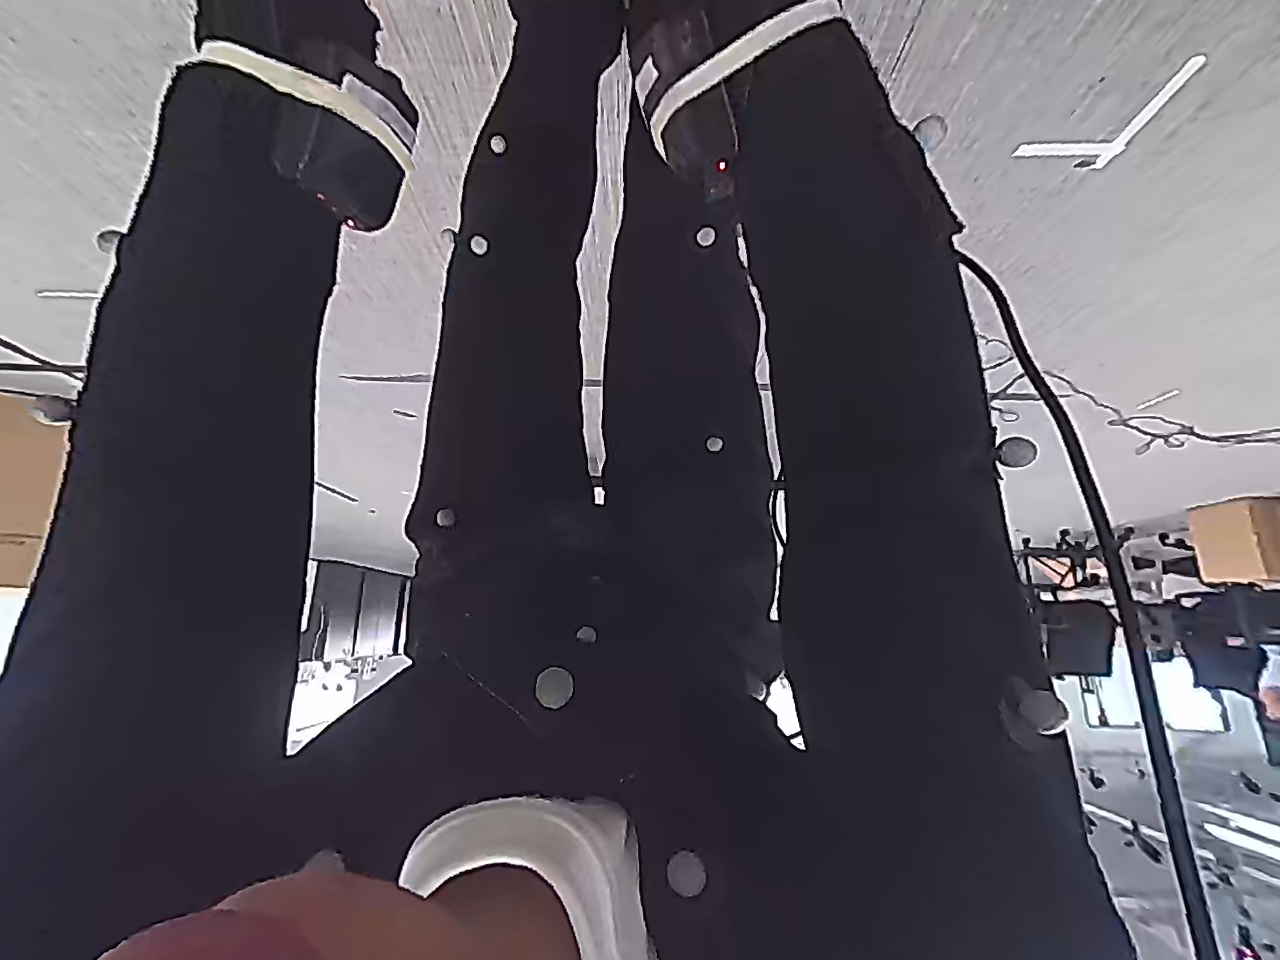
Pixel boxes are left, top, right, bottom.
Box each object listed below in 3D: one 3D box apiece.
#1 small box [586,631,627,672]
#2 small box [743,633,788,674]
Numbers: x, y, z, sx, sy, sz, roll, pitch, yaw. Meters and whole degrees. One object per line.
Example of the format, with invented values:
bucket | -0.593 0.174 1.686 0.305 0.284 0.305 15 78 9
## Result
small box | -0.153 0.778 2.462 0.179 0.176 0.168 4 163 -6
small box | 0.574 0.797 2.493 0.179 0.176 0.168 0 165 3
